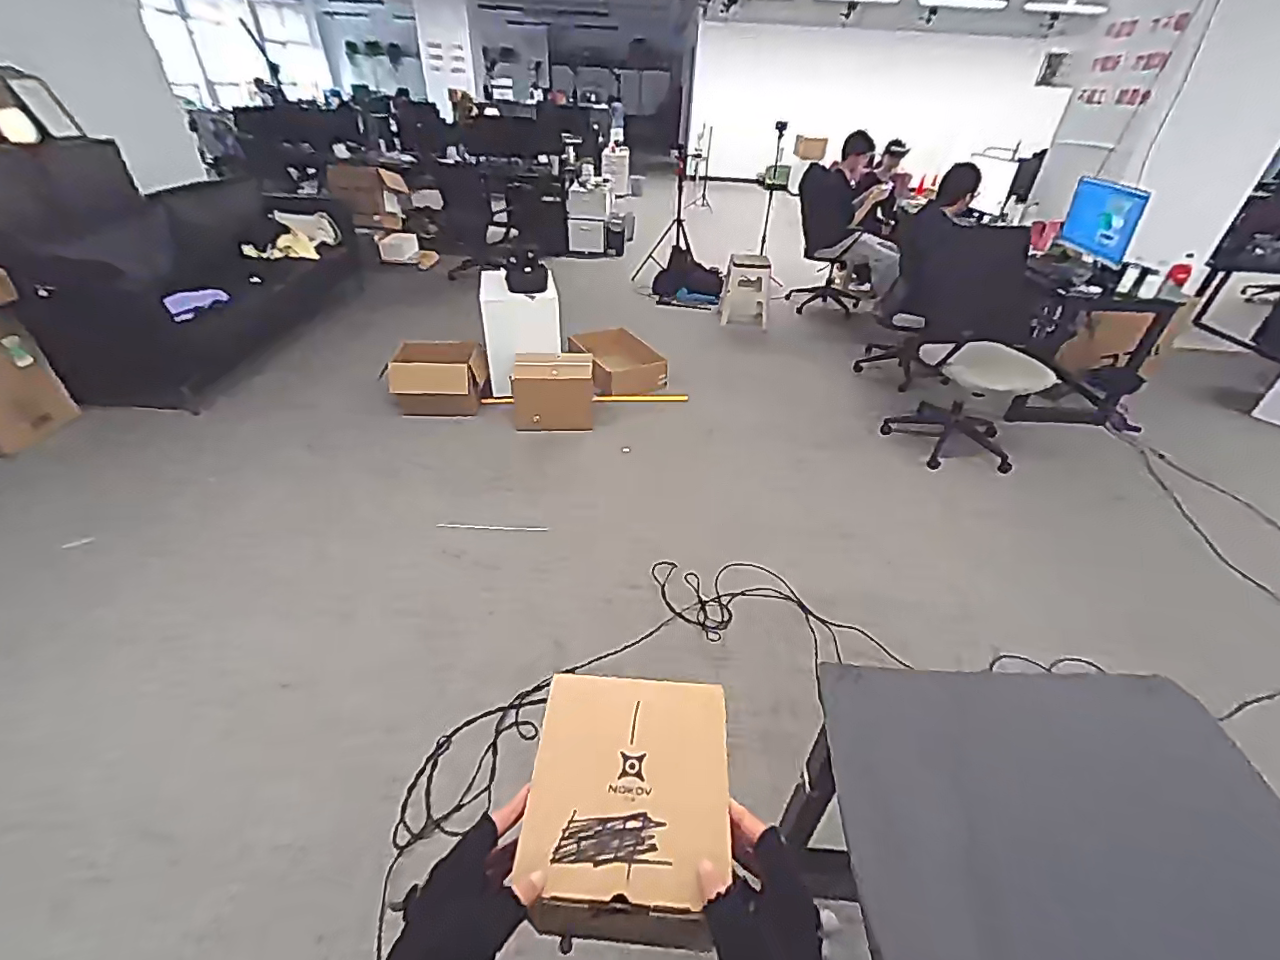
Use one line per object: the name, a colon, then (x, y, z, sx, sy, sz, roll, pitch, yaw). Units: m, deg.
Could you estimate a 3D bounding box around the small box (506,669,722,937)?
small box: (-0.013, 0.304, 0.510, 0.168, 0.176, 0.179, 3, 42, 3)
